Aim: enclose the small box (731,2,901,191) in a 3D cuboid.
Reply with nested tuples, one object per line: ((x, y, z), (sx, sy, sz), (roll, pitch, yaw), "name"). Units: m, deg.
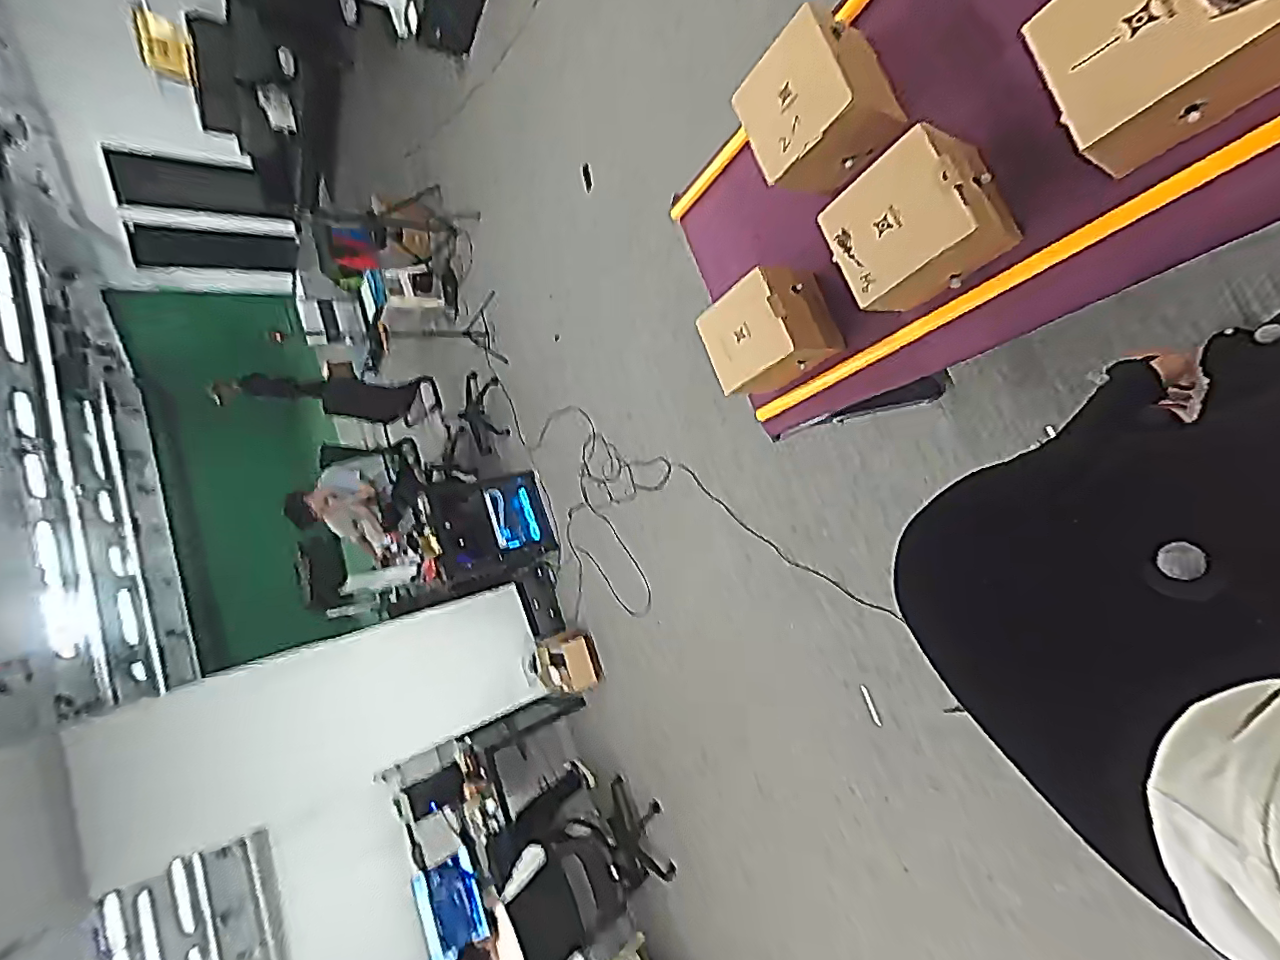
((0.285, -0.603, 0.879), (0.168, 0.176, 0.179), (-30, 78, 52), "small box")

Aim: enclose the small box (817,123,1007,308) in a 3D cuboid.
((0.404, -0.373, 0.797), (0.179, 0.176, 0.168), (-33, 74, 50), "small box")

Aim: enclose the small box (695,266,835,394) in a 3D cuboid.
((0.243, -0.280, 1.026), (0.179, 0.176, 0.168), (-31, 75, 49), "small box")

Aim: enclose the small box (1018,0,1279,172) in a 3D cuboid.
((0.555, -0.469, 0.575), (0.179, 0.176, 0.168), (-28, 77, 53), "small box")
